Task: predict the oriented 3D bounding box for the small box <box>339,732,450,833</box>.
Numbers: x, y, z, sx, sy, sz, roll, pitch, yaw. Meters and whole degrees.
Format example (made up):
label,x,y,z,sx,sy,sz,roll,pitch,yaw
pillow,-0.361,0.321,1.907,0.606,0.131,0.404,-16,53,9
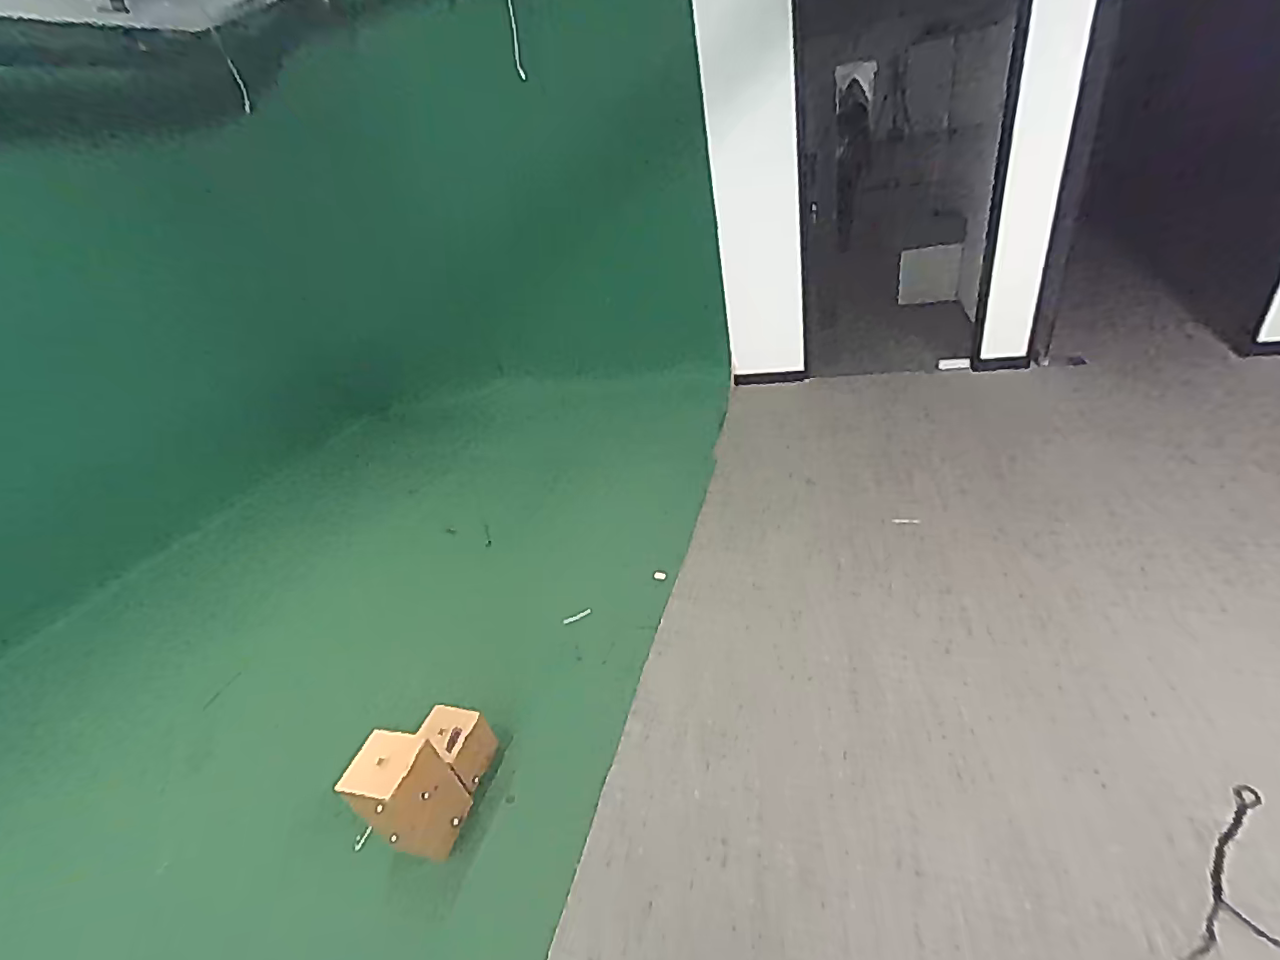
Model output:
label,x,y,z,sx,sy,sz,roll,pitch,yaw
small box,-0.639,0.799,1.427,0.179,0.176,0.168,-1,33,18
